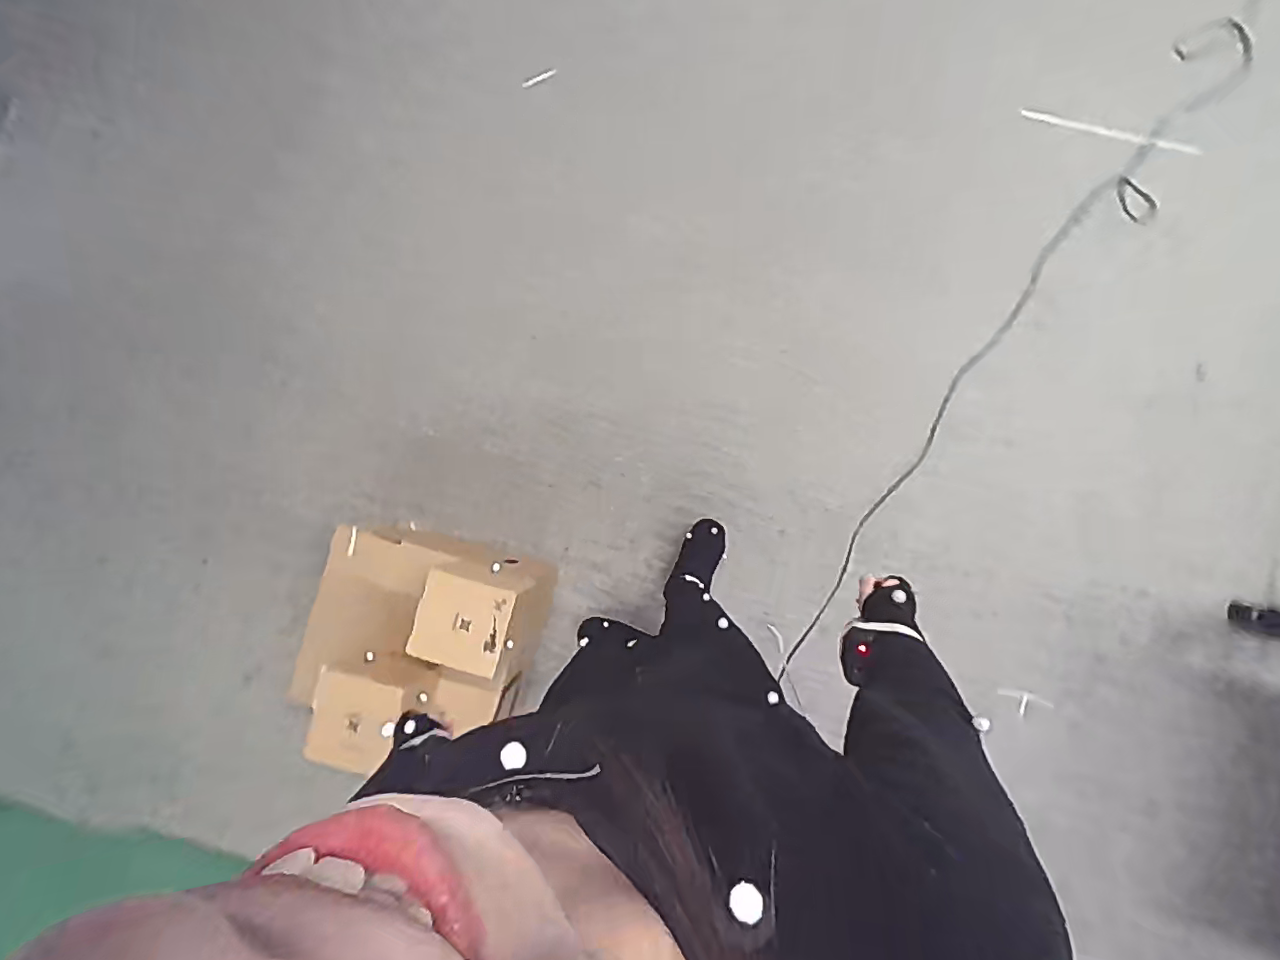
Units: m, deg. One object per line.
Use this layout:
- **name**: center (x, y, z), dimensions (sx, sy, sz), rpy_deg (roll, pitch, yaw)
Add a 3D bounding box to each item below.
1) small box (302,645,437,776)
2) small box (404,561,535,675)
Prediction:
- **small box**: center (-0.533, 0.451, 1.091), dimensions (0.168, 0.176, 0.179), rpy_deg (13, 89, 5)
- **small box**: center (-0.332, 0.265, 1.084), dimensions (0.179, 0.176, 0.168), rpy_deg (16, 88, 4)
